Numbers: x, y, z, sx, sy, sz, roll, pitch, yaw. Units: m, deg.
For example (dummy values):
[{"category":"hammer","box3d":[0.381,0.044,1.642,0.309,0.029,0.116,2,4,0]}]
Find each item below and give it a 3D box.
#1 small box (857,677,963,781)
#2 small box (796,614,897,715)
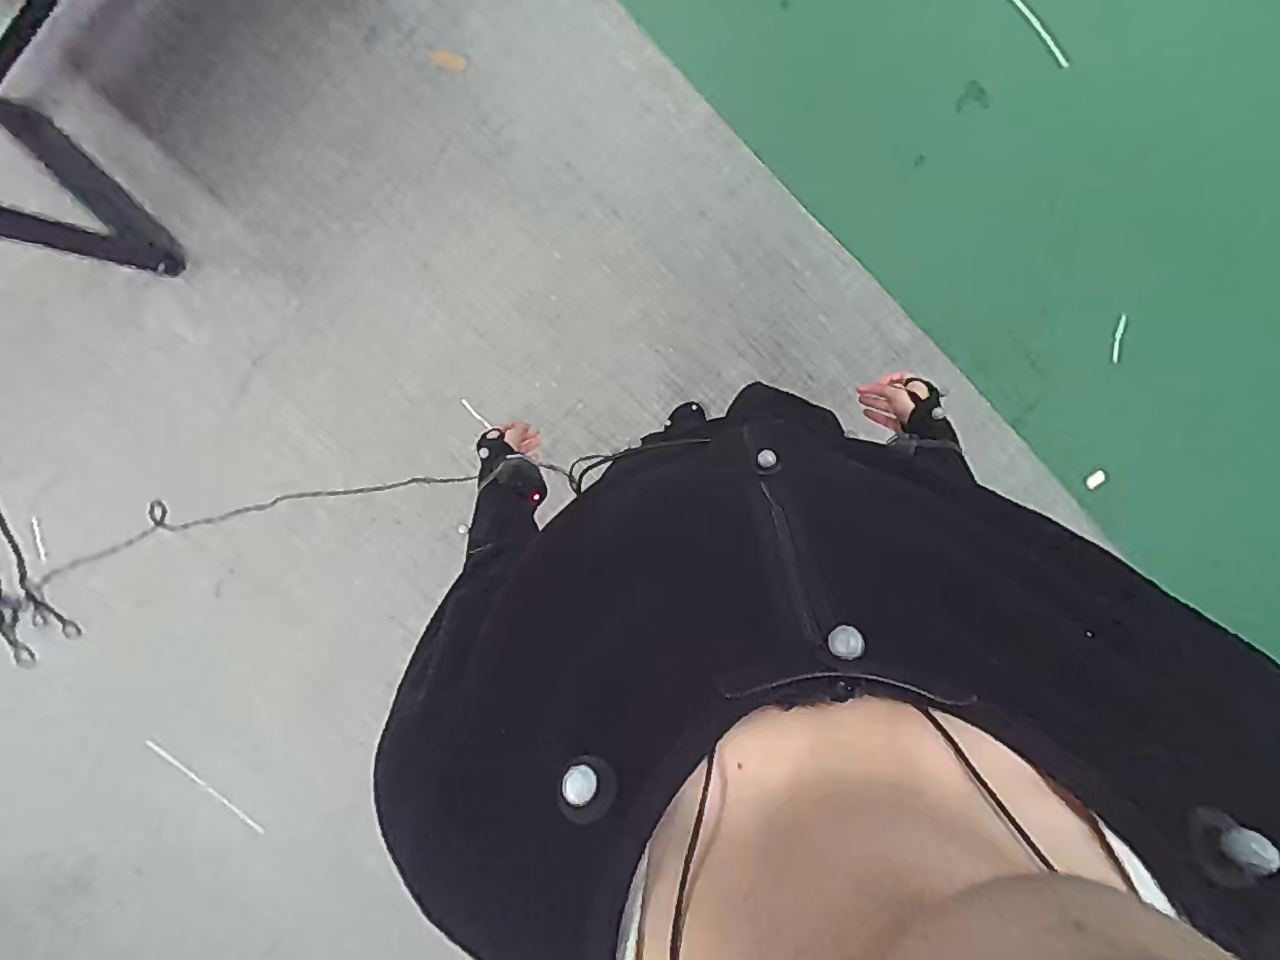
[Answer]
[{"category":"small box","box3d":[0.740,0.679,1.506,0.168,0.176,0.179,-43,96,9]},{"category":"small box","box3d":[0.554,0.492,1.479,0.168,0.176,0.179,-39,97,9]}]
